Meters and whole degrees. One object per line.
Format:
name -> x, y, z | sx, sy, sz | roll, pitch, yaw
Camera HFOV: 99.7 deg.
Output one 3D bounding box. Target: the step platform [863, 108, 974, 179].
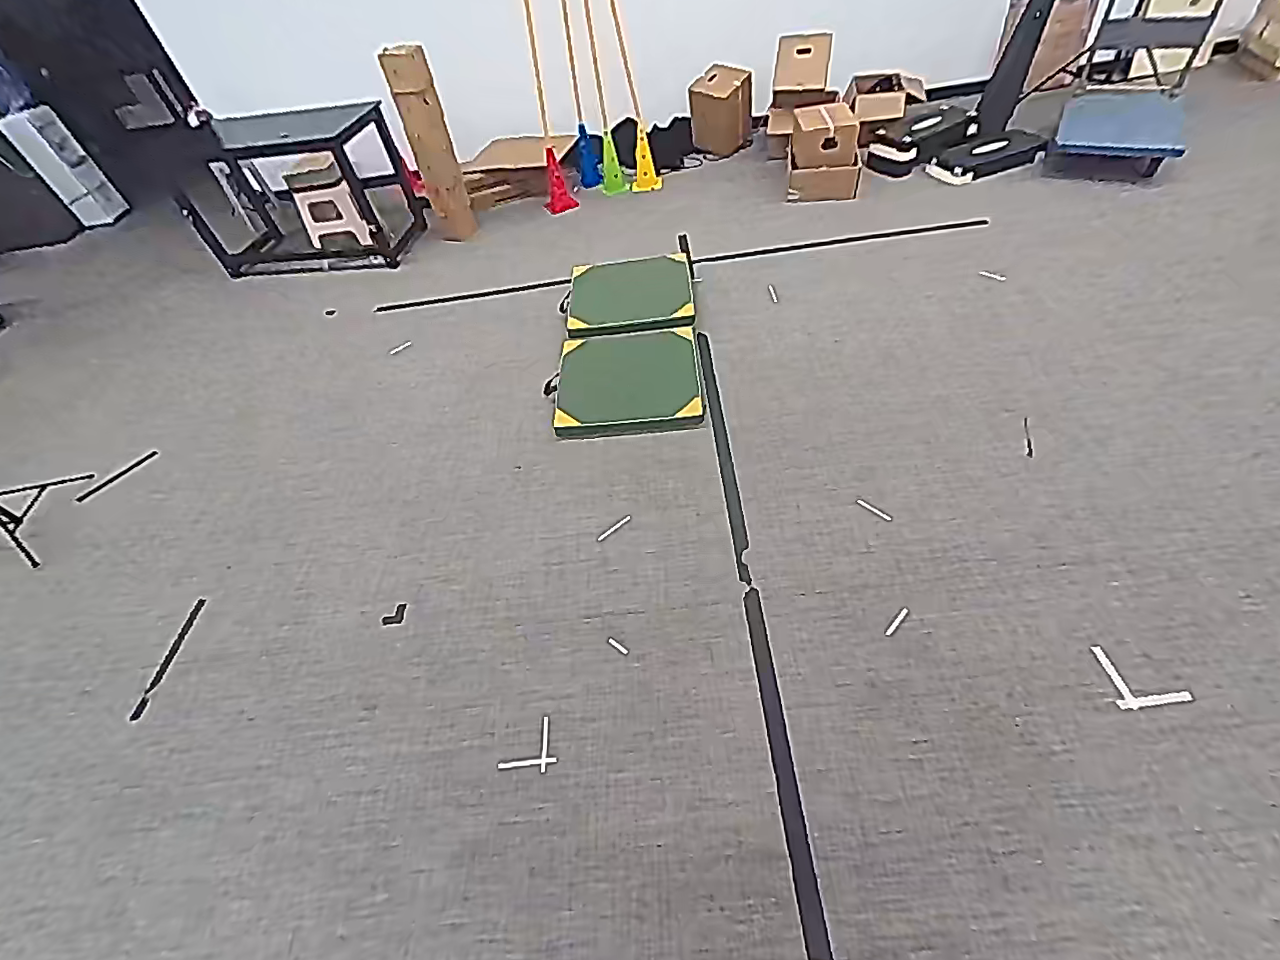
step platform -> 1.761, -2.134, 3.416 | 0.684, 0.204, 0.286 | -29, 52, -15
